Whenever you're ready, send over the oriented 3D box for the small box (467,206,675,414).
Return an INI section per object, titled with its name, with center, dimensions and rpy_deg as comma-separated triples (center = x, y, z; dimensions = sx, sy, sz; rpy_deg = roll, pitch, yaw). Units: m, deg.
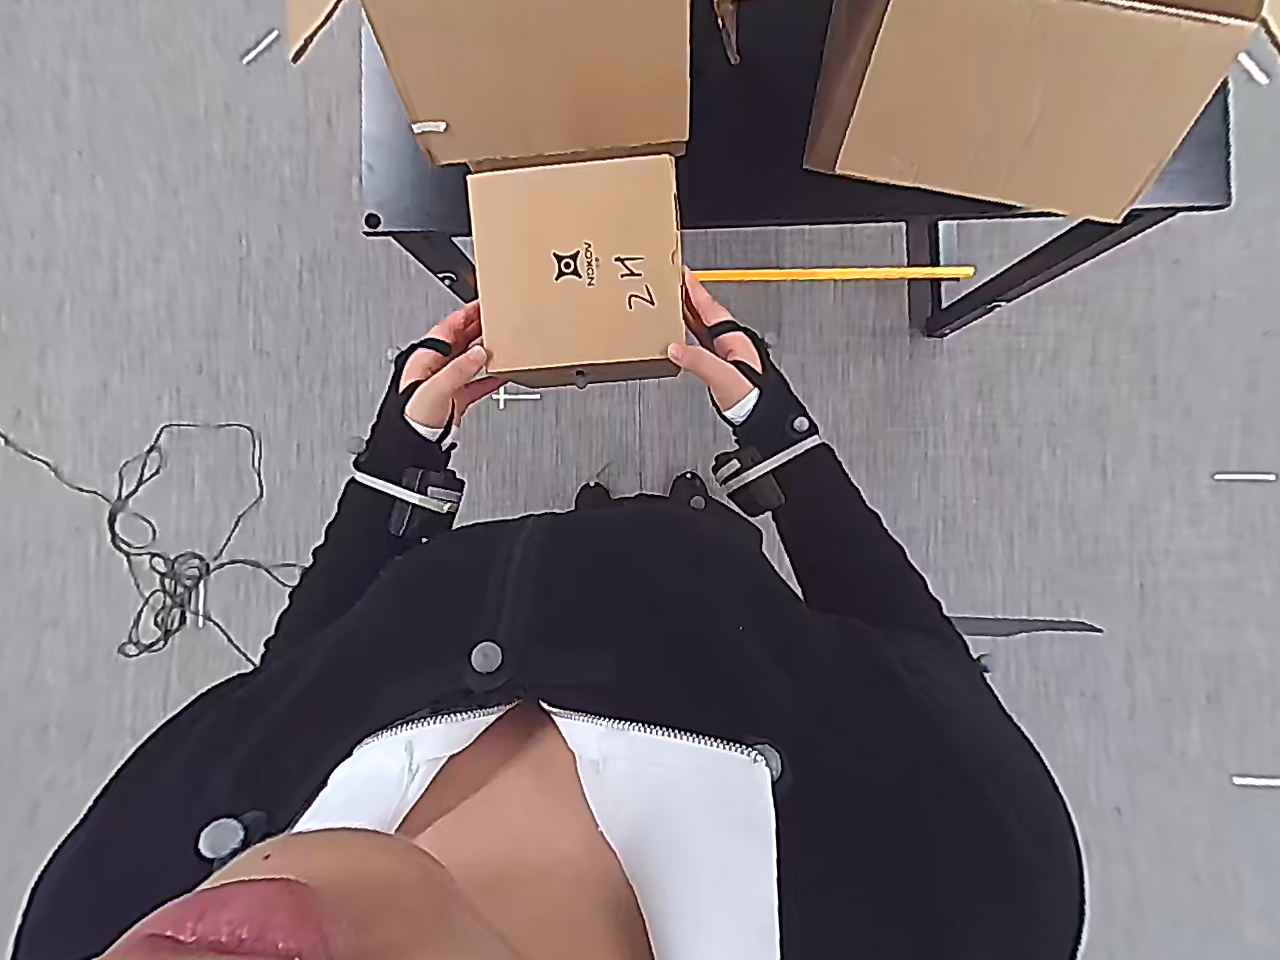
[small box]
center = -0.056, -0.155, 0.550
dimensions = 0.179, 0.176, 0.168
rpy_deg = -4, 96, 2
